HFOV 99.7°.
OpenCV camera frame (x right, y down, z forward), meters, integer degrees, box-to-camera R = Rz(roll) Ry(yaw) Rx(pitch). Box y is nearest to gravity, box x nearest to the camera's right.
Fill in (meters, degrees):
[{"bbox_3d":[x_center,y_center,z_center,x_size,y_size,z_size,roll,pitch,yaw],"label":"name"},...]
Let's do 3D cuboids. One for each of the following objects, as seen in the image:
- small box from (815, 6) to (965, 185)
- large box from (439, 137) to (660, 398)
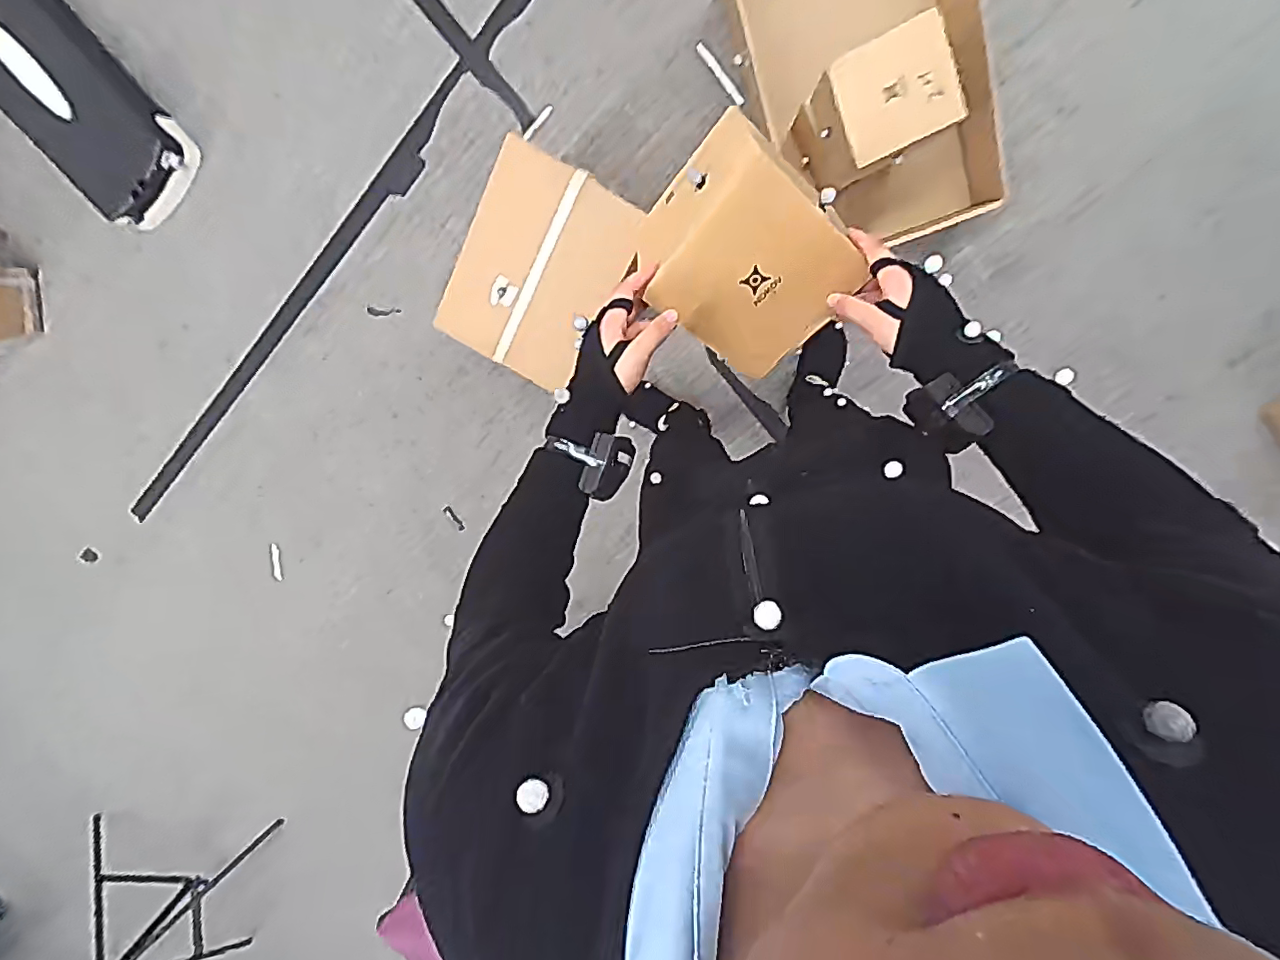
[{"bbox_3d":[0.412,-0.636,0.925,0.179,0.176,0.168,-21,104,13],"label":"small box"},{"bbox_3d":[-0.185,-0.460,1.216,0.320,0.320,0.408,29,112,-4],"label":"large box"}]
